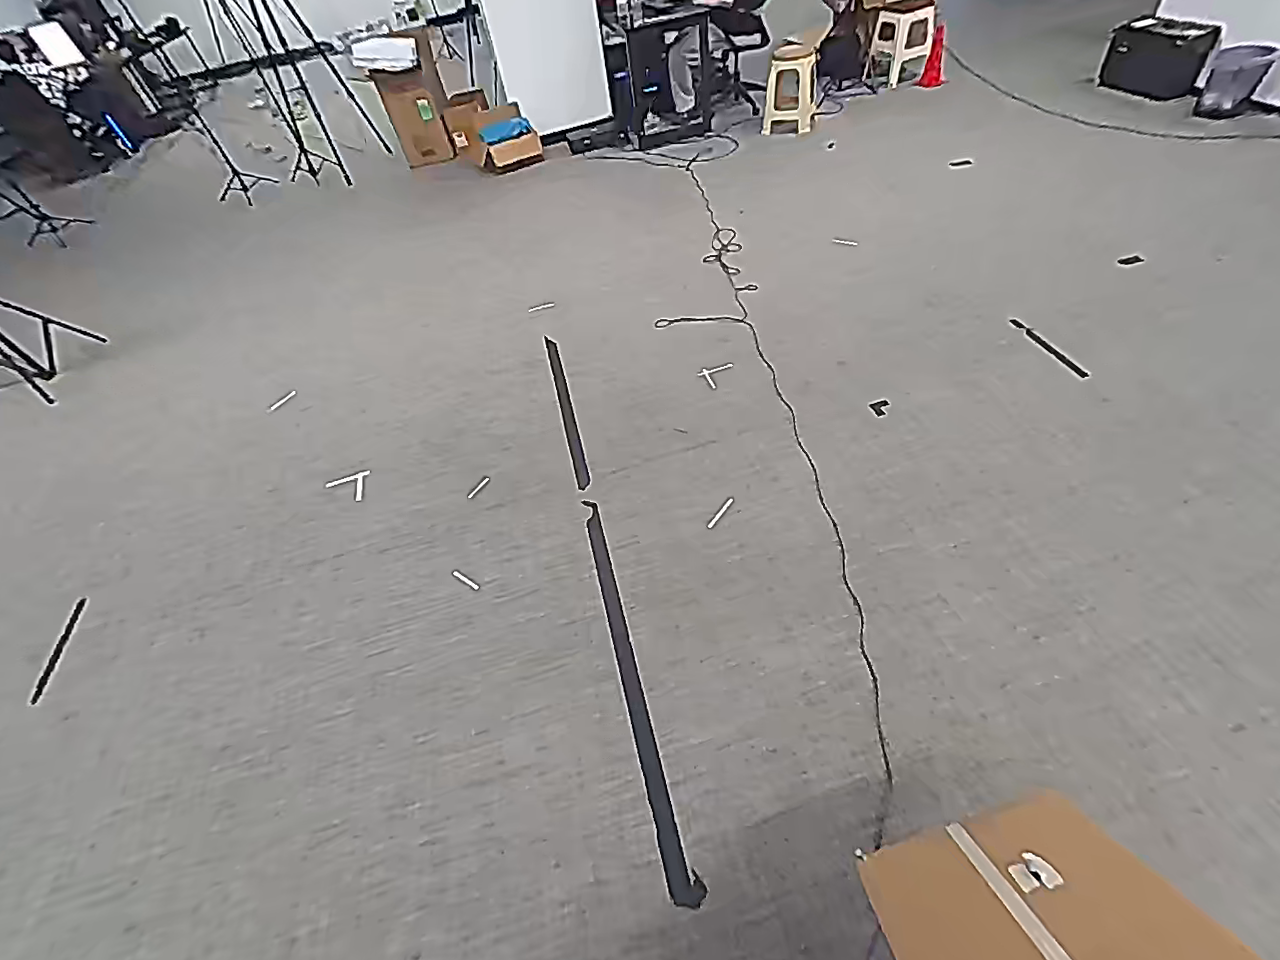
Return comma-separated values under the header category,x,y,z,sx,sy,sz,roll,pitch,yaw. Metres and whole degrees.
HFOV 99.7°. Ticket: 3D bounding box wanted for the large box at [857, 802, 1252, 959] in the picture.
category,x,y,z,sx,sy,sz,roll,pitch,yaw
large box,0.507,0.659,0.602,0.320,0.408,0.320,-22,84,4
